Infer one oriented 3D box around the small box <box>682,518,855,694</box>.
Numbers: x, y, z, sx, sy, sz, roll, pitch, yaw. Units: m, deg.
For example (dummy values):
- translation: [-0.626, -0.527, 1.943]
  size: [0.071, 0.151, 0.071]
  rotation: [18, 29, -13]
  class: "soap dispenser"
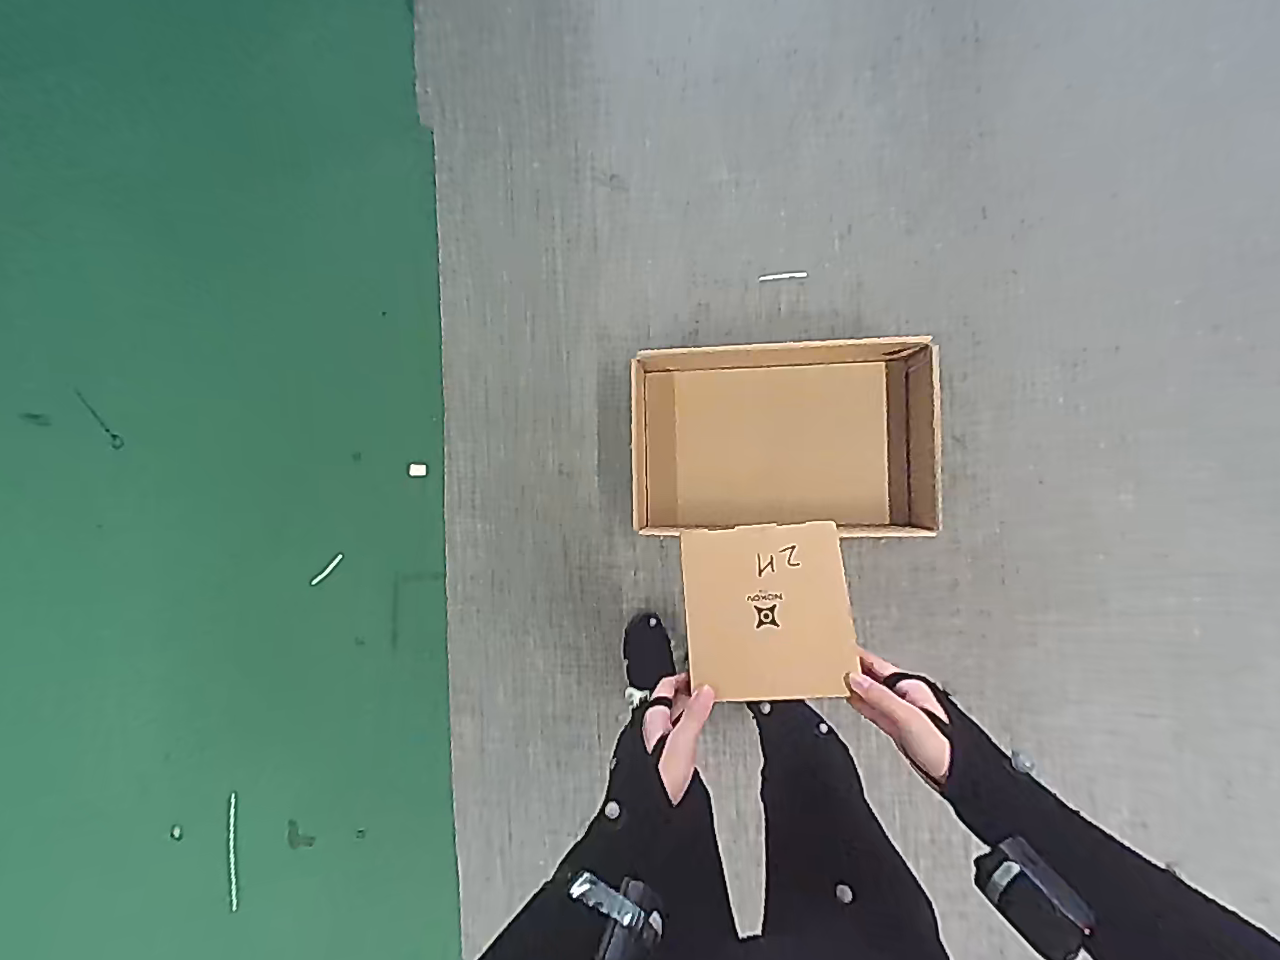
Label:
- translation: [0.139, 0.154, 0.639]
  size: [0.168, 0.176, 0.179]
  rotation: [-4, 69, 5]
  class: "small box"
